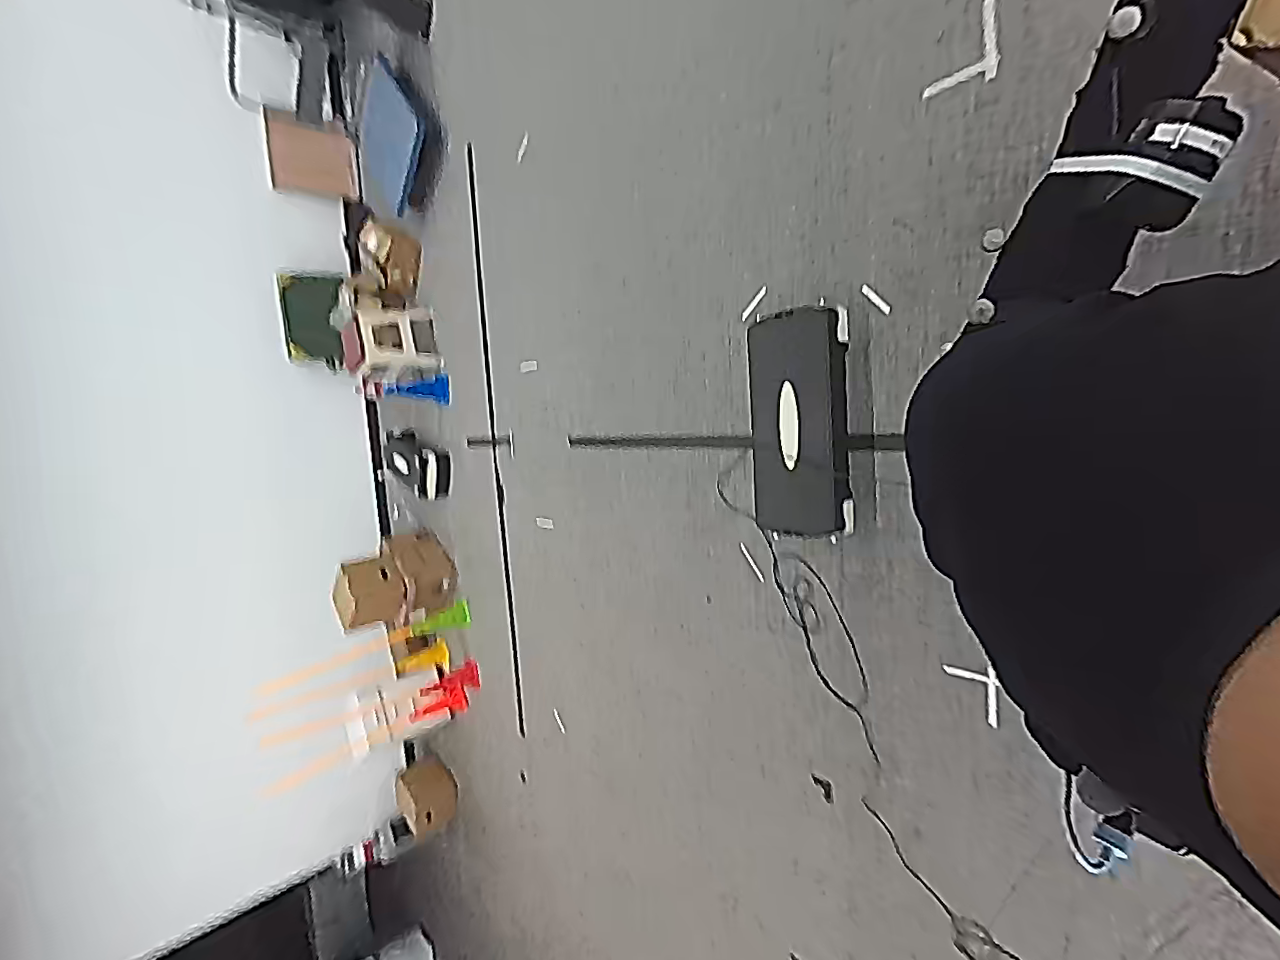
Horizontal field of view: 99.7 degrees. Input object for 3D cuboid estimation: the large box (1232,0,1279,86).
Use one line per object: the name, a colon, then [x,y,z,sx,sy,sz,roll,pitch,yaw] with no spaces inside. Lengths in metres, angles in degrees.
large box: [0.592,-0.356,0.202,0.408,0.320,0.320,33,134,39]
